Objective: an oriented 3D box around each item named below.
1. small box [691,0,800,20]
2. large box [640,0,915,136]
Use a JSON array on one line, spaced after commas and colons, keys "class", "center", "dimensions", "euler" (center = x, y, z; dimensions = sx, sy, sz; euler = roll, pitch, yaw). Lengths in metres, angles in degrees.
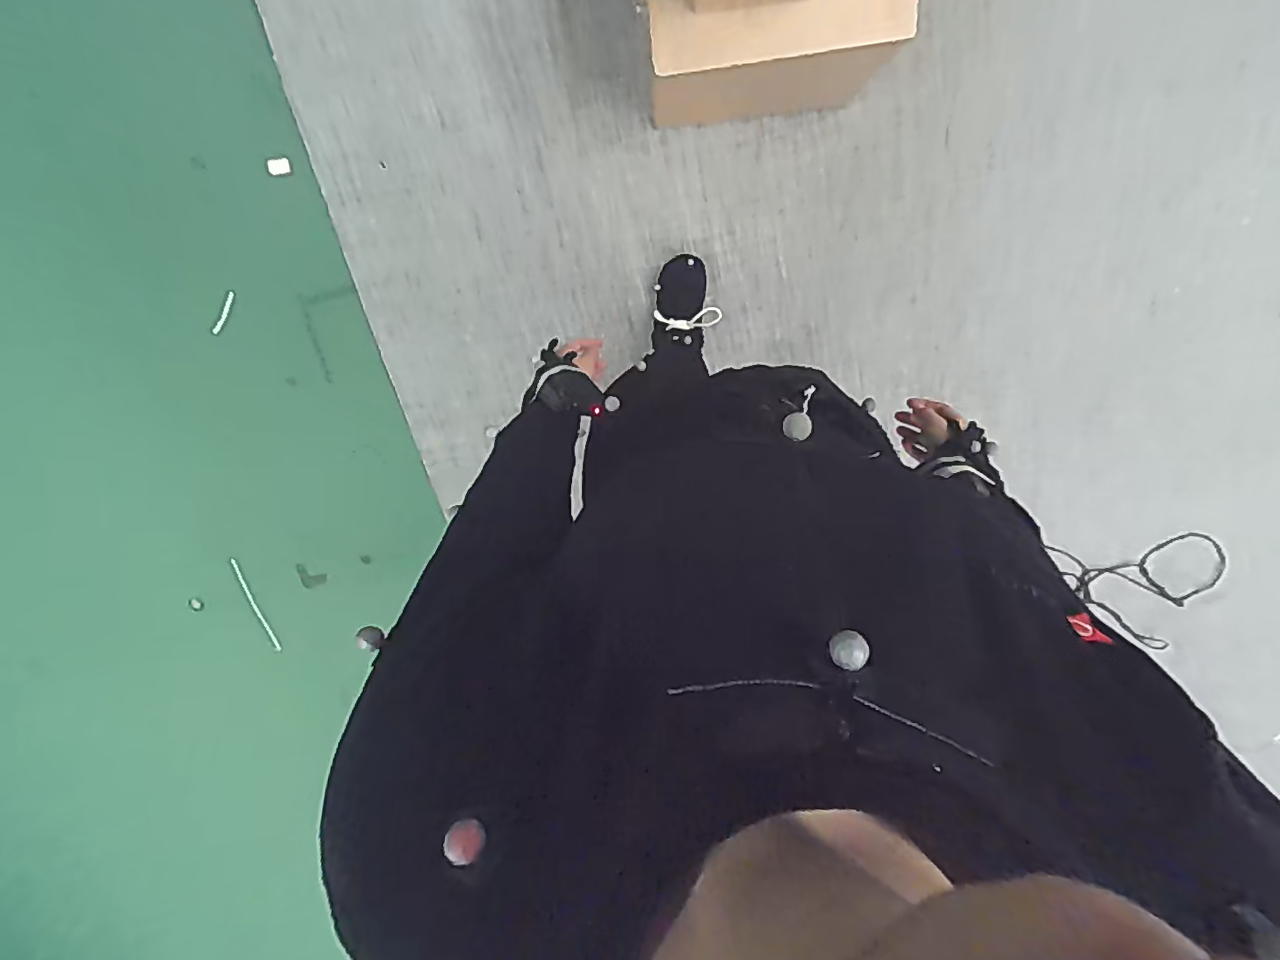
[{"class": "small box", "center": [0.156, -0.751, 0.710], "dimensions": [0.179, 0.176, 0.168], "euler": [-5, 107, 5]}, {"class": "large box", "center": [0.205, -0.839, 0.934], "dimensions": [0.408, 0.320, 0.320], "euler": [-7, 109, 3]}]
